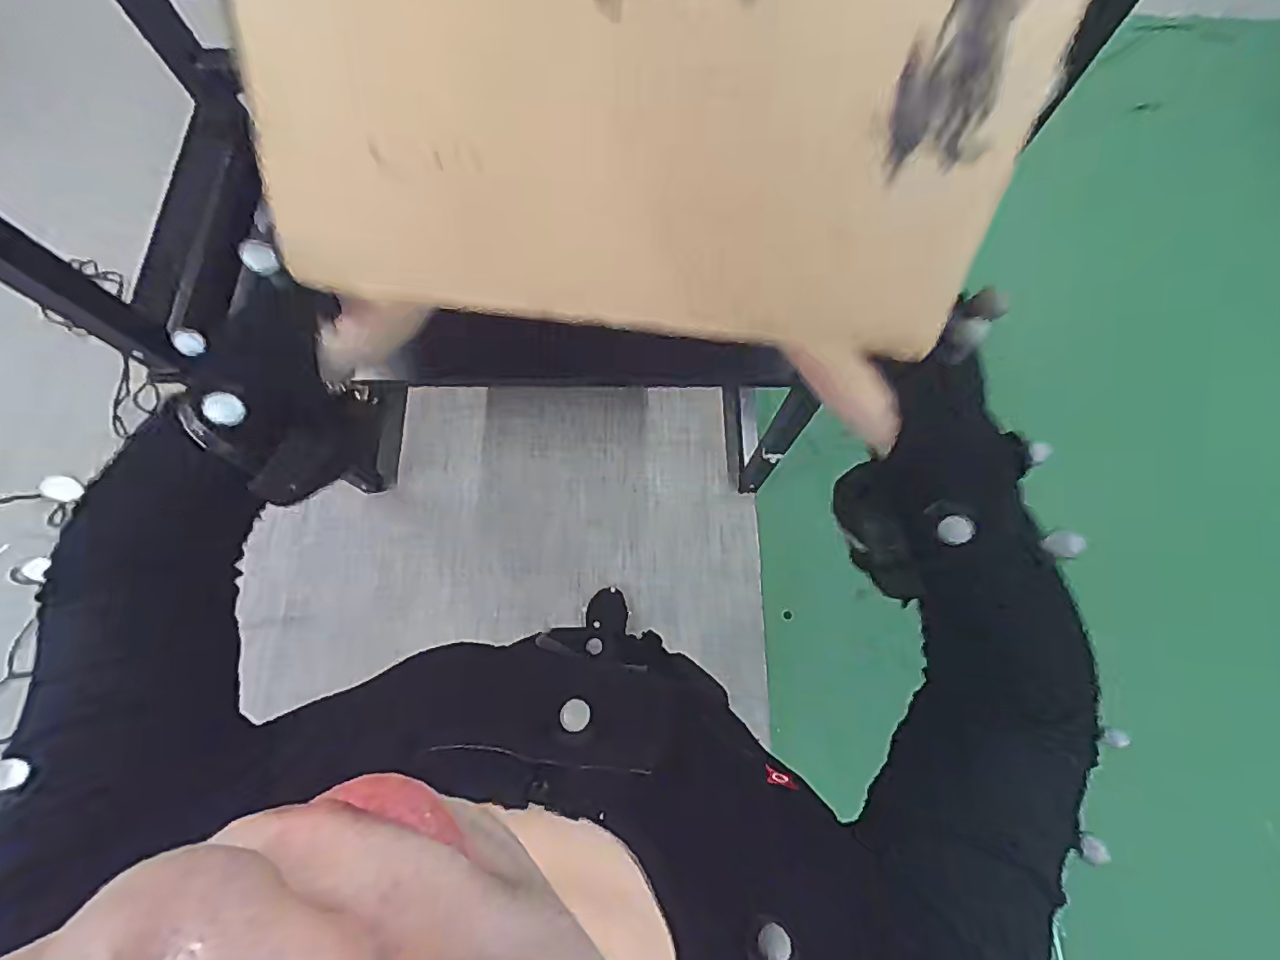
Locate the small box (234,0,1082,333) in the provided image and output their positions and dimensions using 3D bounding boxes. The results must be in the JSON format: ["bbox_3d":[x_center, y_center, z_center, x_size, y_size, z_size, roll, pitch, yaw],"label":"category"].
[{"bbox_3d":[0.007,-0.162,0.164,0.179,0.168,0.176,7,35,-4],"label":"small box"}]
